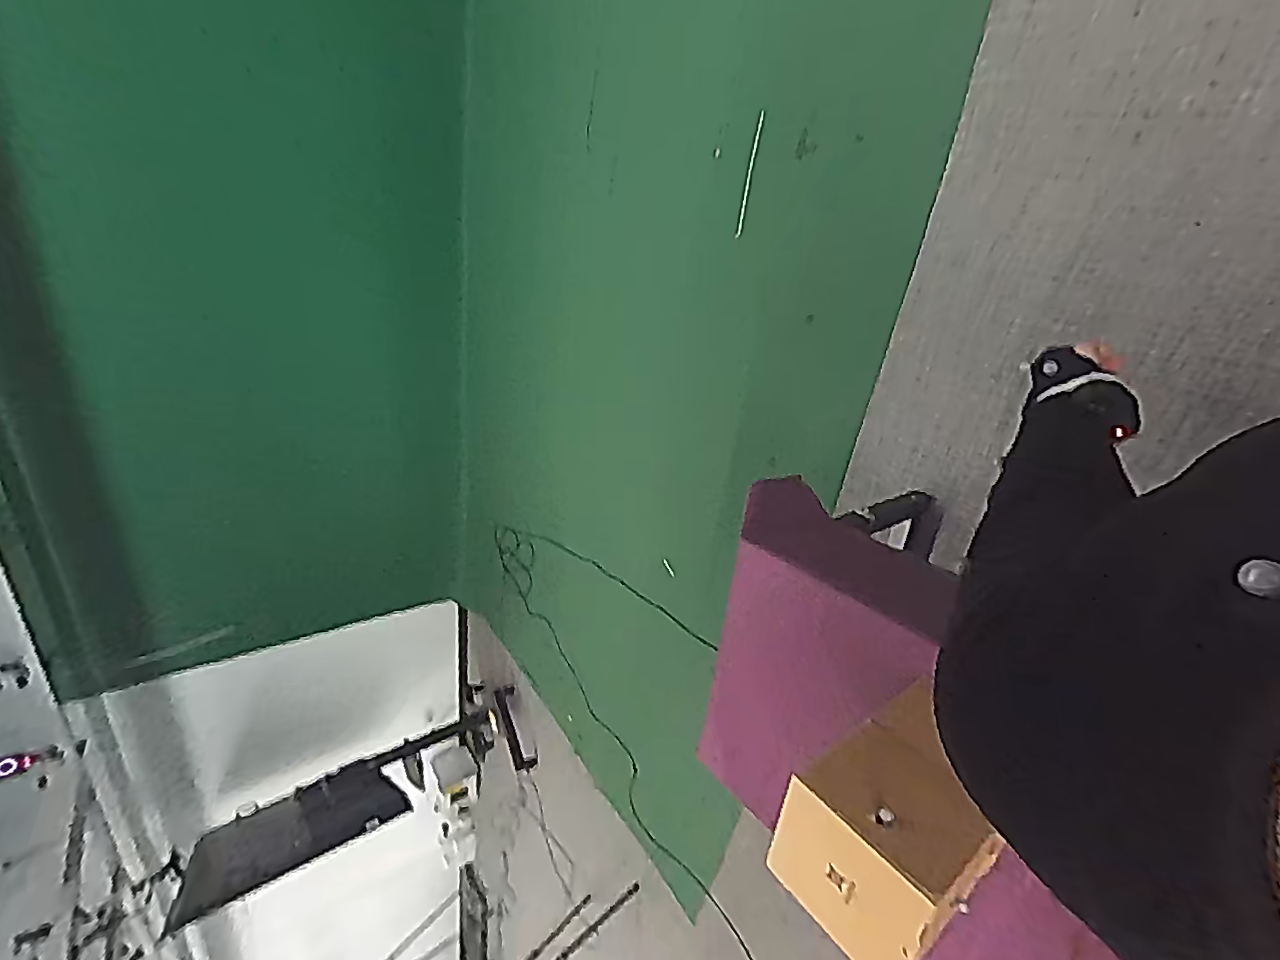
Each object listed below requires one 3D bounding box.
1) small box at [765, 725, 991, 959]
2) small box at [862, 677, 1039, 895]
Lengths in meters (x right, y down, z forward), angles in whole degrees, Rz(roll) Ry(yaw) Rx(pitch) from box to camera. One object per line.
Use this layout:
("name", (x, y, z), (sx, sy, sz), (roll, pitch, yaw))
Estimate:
("small box", (0.289, 0.437, 0.670), (0.179, 0.176, 0.168), (30, 121, 44))
("small box", (0.420, 0.414, 0.766), (0.179, 0.176, 0.168), (32, 123, 45))
